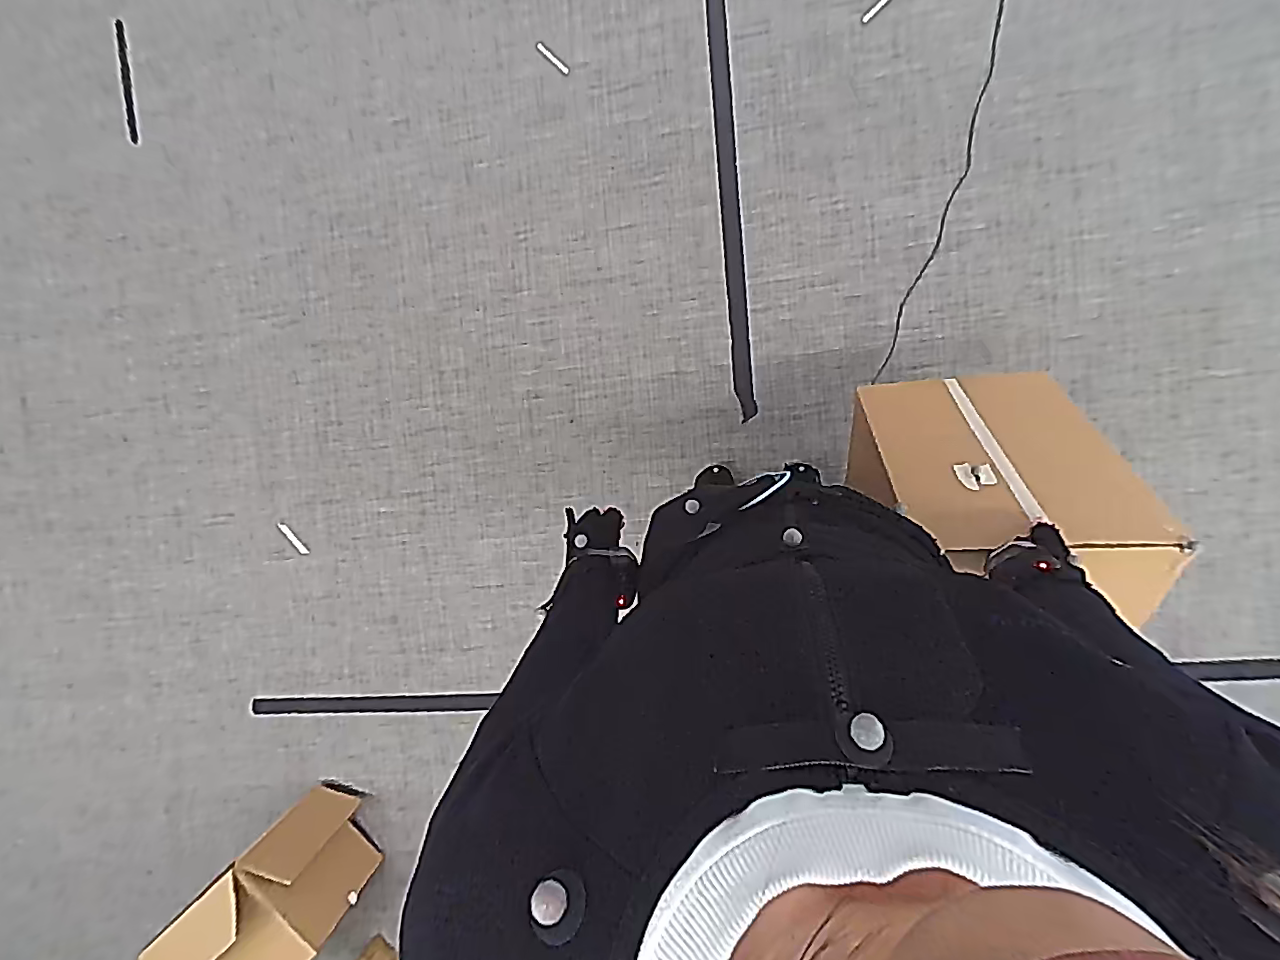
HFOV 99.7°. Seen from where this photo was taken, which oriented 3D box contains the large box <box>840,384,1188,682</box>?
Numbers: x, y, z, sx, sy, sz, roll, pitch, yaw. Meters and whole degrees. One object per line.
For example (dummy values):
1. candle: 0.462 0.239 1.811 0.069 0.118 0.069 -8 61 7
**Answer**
1. large box: 0.547 0.080 0.915 0.320 0.408 0.320 -3 131 10
